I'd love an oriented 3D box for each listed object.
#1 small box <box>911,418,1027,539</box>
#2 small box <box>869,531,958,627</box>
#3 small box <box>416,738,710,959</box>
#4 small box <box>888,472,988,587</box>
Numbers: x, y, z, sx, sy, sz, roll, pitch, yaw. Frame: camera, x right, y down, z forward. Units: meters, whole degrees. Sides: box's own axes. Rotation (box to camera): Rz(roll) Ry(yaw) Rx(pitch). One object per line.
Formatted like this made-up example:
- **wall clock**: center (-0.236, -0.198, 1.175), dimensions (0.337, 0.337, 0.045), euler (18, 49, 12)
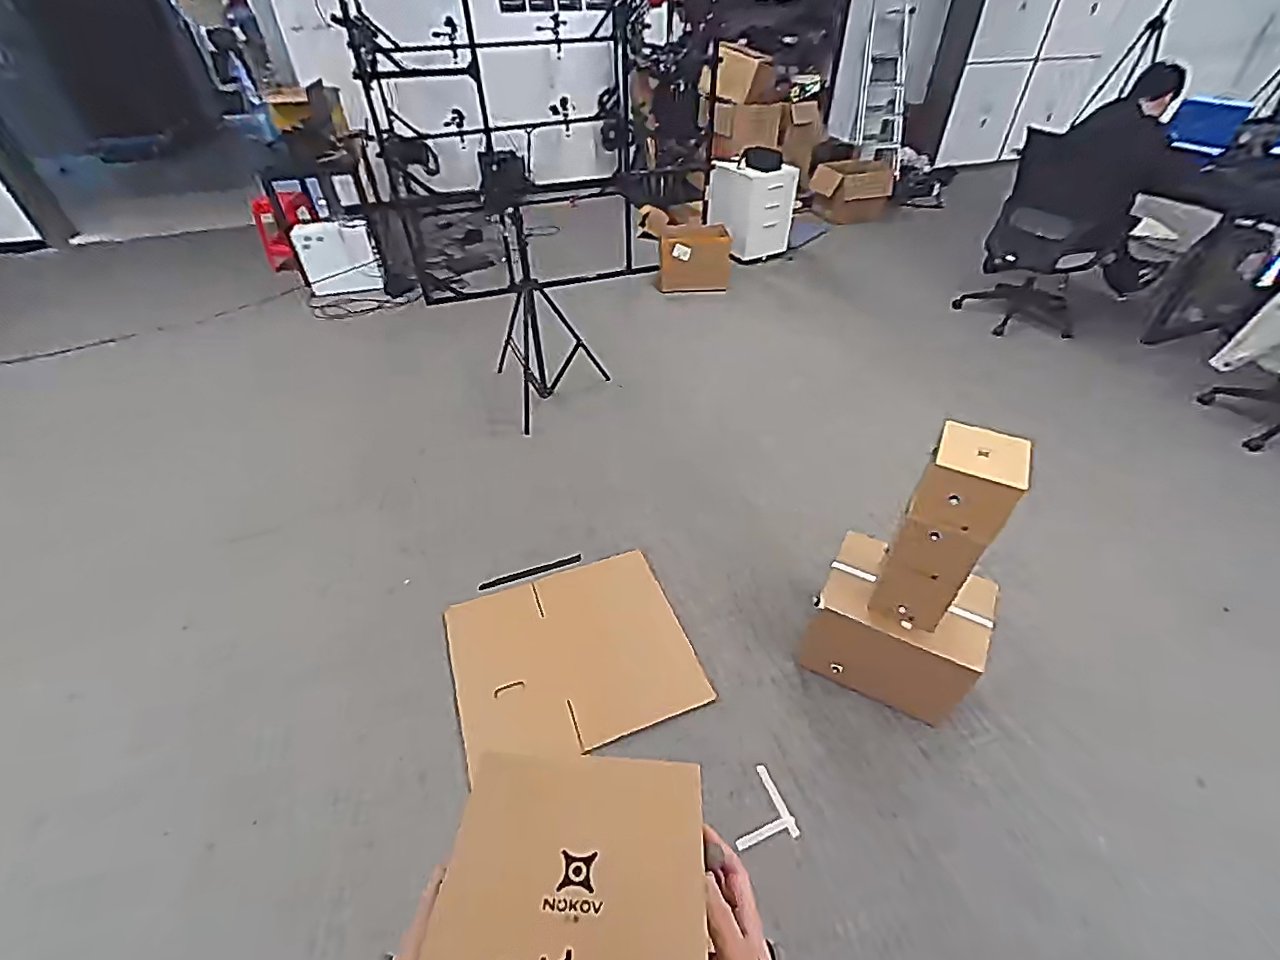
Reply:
- **small box**: center (0.704, -0.003, 1.166), dimensions (0.168, 0.176, 0.179), euler (20, 46, 22)
- **small box**: center (0.705, 0.240, 1.386), dimensions (0.168, 0.176, 0.179), euler (20, 47, 22)
- **small box**: center (-0.041, 0.314, 0.379), dimensions (0.168, 0.176, 0.179), euler (2, 31, 2)
- **small box**: center (0.704, 0.116, 1.278), dimensions (0.168, 0.176, 0.179), euler (20, 45, 22)
